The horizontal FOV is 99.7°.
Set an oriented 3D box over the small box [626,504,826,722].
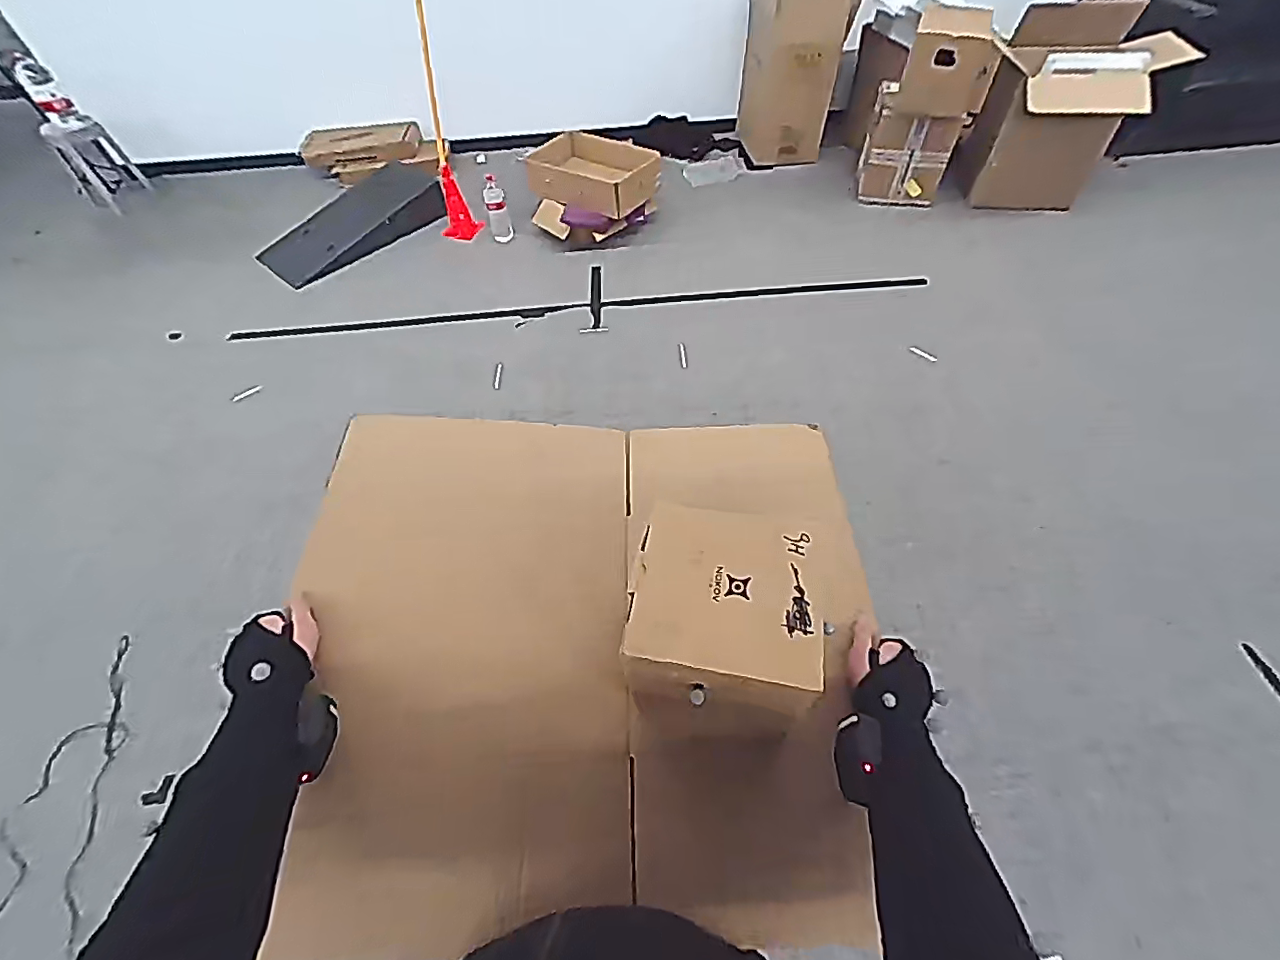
[{"bbox_3d":[0.093,0.147,0.581,0.179,0.176,0.168,7,56,10],"label":"small box"}]
